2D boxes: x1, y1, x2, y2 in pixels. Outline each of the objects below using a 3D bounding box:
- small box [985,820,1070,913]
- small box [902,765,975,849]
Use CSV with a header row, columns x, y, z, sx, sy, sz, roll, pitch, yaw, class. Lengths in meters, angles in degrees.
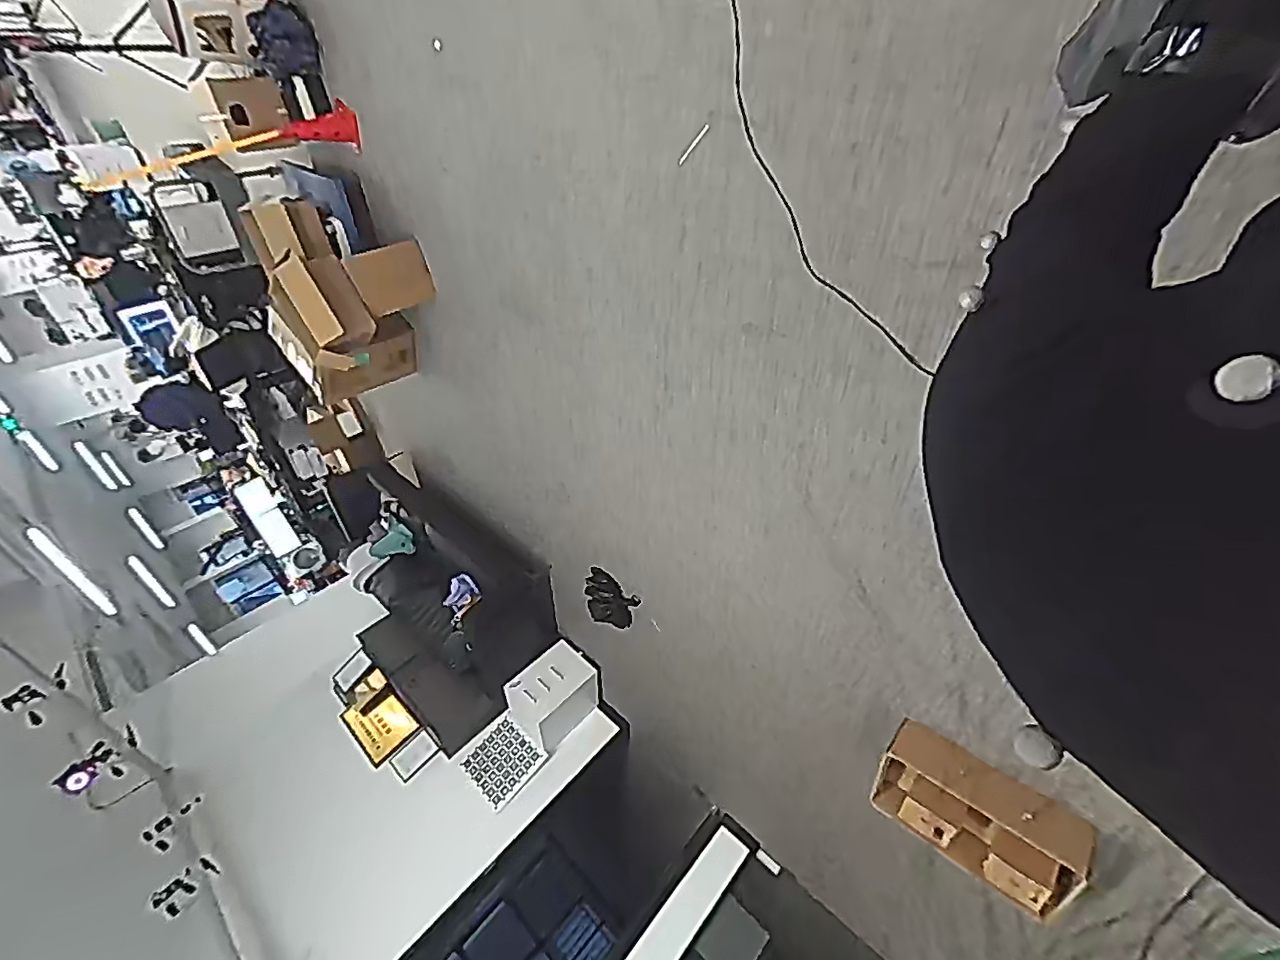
x,y,z,sx,sy,sz,roll,pitch,yaw,class
1.310,1.296,1.831,0.179,0.176,0.168,23,135,40,small box
1.105,1.203,1.998,0.179,0.176,0.168,26,135,35,small box
